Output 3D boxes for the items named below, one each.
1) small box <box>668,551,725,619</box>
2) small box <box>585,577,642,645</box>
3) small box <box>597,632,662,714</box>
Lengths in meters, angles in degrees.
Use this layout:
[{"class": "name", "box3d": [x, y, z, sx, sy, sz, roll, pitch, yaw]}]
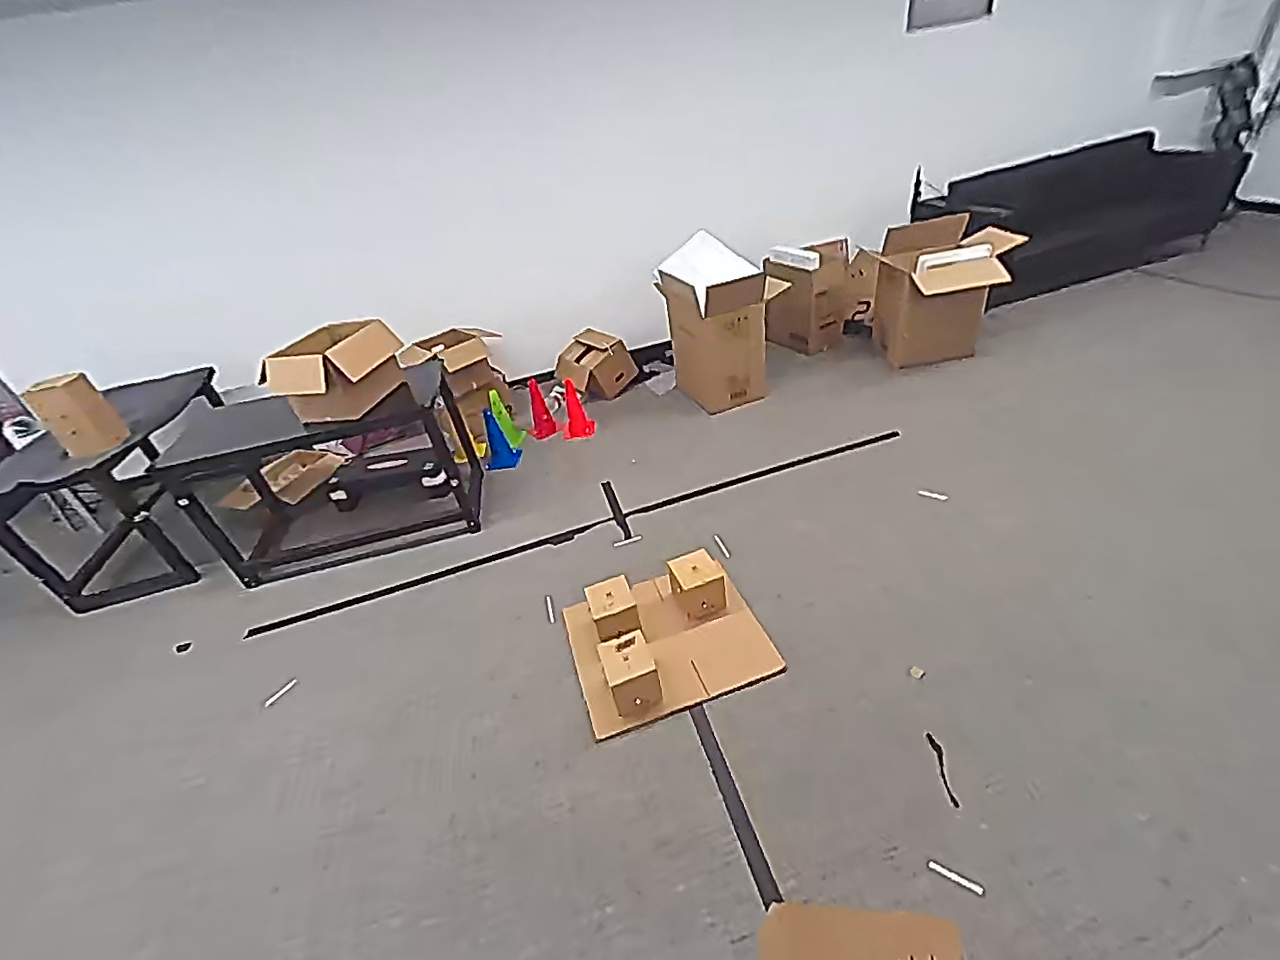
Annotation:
[{"class": "small box", "box3d": [0.223, 0.416, 2.140, 0.168, 0.176, 0.179, -19, 35, -12]}, {"class": "small box", "box3d": [-0.102, 0.510, 2.082, 0.168, 0.176, 0.179, -18, 35, -9]}, {"class": "small box", "box3d": [-0.035, 0.660, 1.849, 0.168, 0.176, 0.179, -18, 36, -10]}]
